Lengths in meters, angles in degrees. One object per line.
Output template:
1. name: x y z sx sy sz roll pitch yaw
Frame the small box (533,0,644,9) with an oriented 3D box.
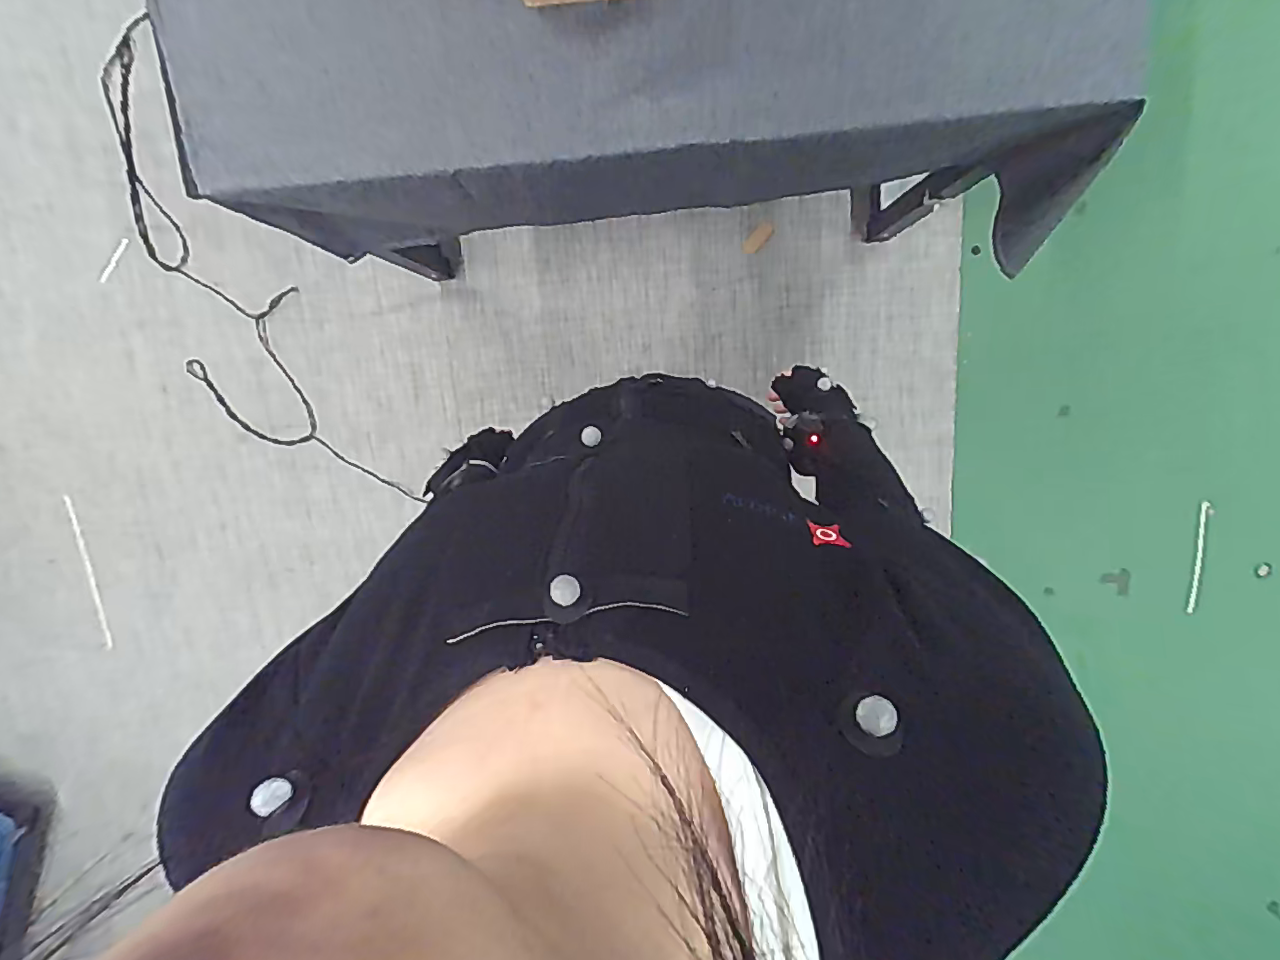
1. small box: -0.064 -0.646 0.558 0.168 0.176 0.179 -3 100 3
